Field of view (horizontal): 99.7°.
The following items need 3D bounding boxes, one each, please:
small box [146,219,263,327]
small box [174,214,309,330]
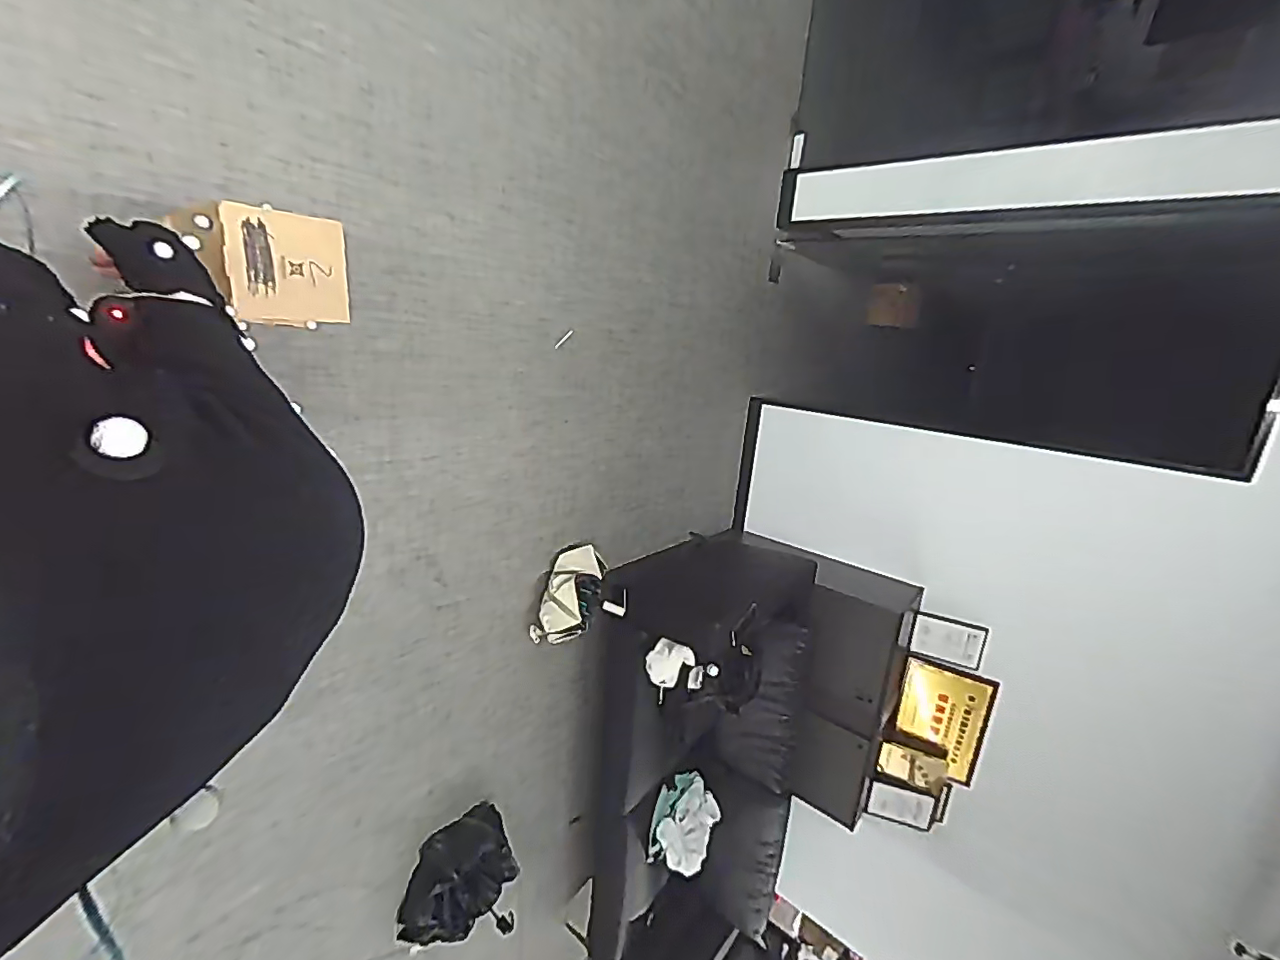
[{"bbox_3d":[-0.885,-0.419,1.111,0.168,0.176,0.179,-11,112,-51],"label":"small box"},{"bbox_3d":[-0.752,-0.385,1.022,0.168,0.176,0.179,-11,112,-50],"label":"small box"}]
